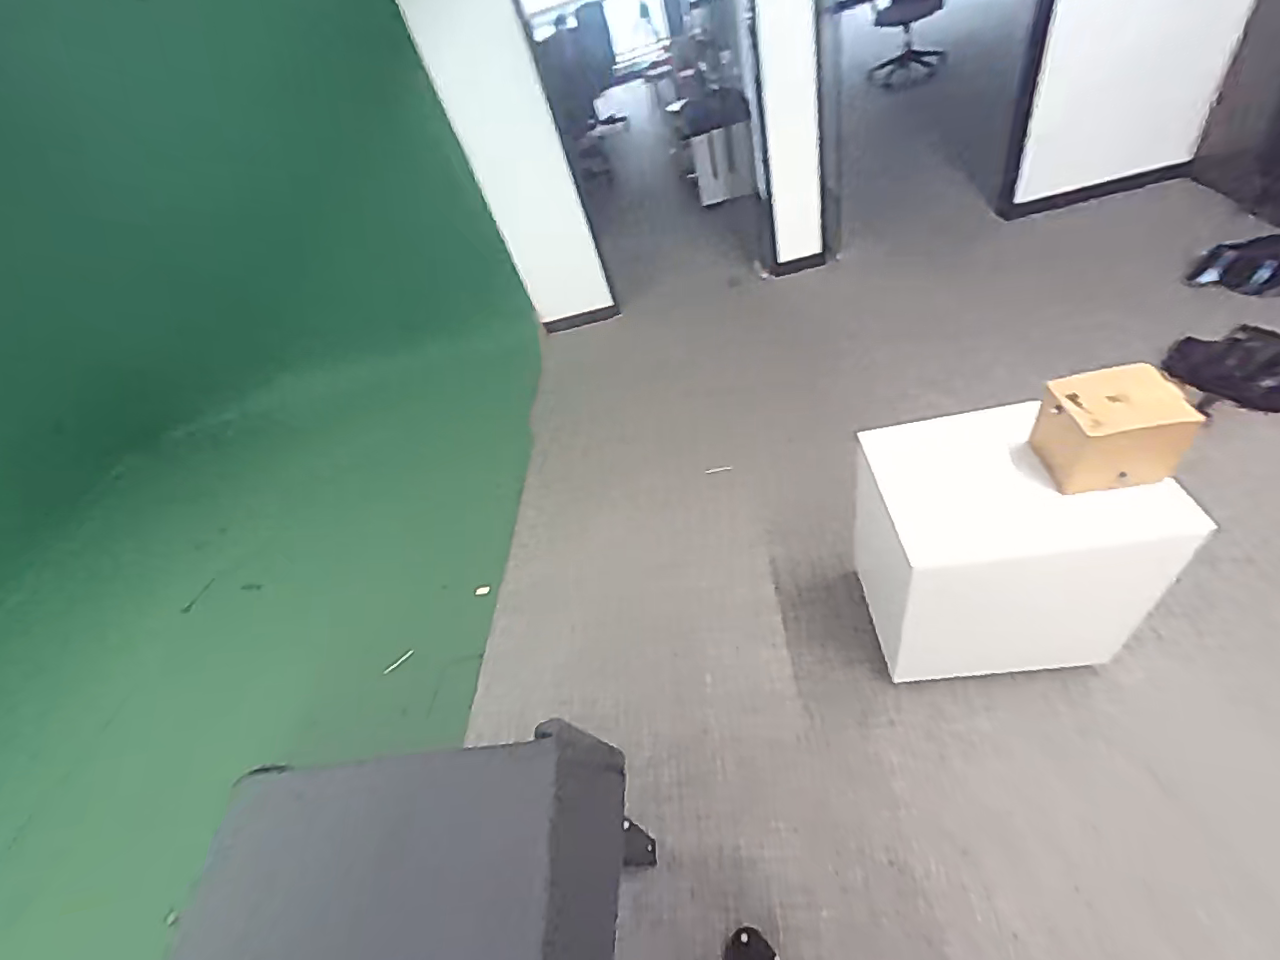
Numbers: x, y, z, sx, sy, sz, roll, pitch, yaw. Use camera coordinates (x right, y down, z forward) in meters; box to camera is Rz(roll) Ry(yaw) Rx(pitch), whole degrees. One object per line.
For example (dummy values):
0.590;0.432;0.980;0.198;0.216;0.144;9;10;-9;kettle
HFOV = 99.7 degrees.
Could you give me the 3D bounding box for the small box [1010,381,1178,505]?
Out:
0.885;-0.070;1.077;0.179;0.176;0.168;-8;44;9;small box
